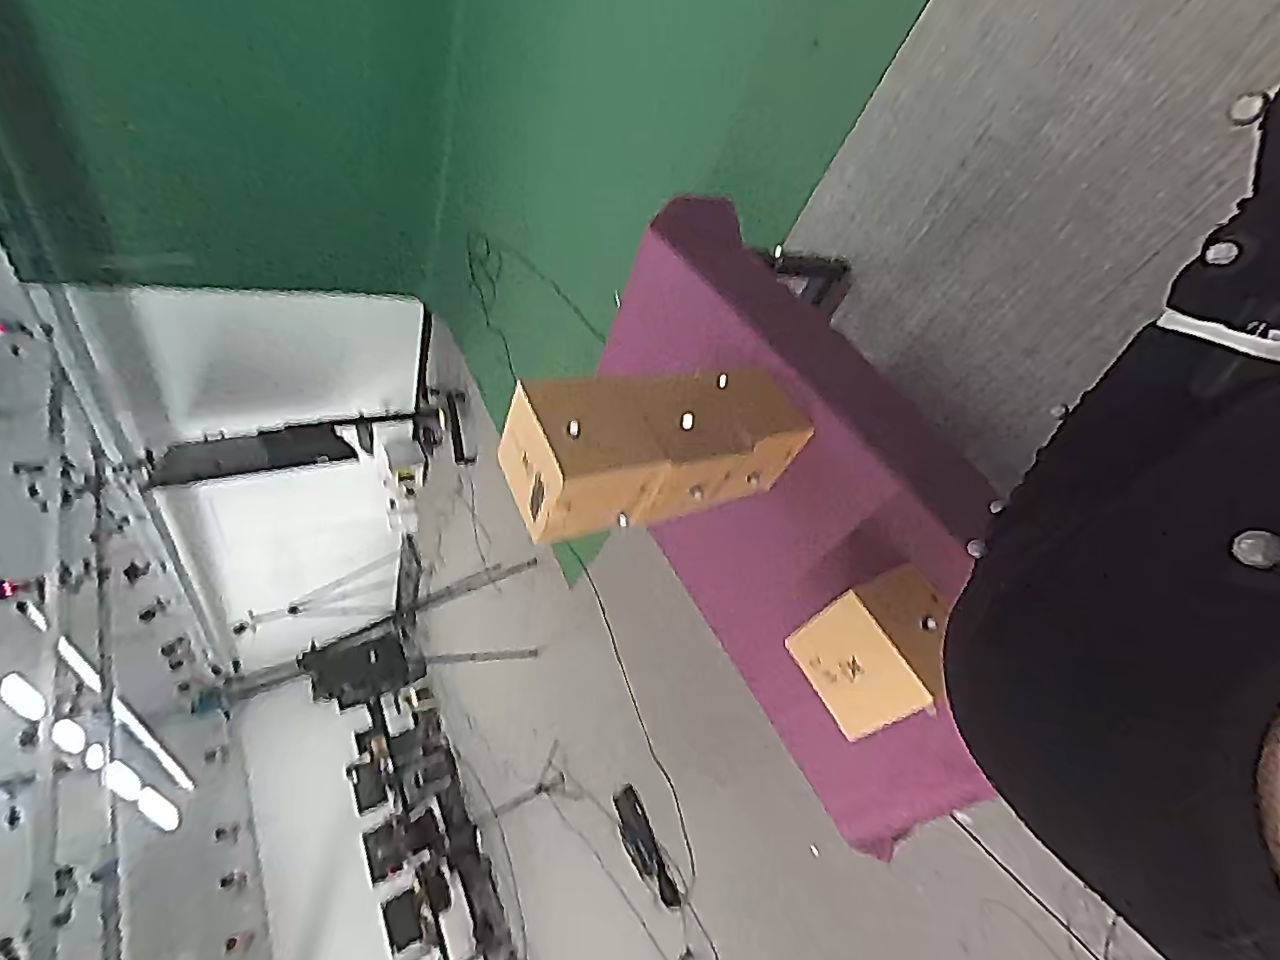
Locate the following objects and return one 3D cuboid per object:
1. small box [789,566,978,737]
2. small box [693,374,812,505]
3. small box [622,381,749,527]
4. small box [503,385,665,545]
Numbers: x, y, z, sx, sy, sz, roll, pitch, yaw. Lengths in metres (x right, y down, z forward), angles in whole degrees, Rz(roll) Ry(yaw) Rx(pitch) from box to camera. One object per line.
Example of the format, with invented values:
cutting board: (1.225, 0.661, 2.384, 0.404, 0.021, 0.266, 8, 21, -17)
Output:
small box: (0.373, 0.254, 0.823, 0.168, 0.176, 0.179, 59, 142, 27)
small box: (0.180, -0.083, 1.002, 0.179, 0.176, 0.168, 58, 141, 28)
small box: (0.050, -0.050, 0.907, 0.179, 0.176, 0.168, 60, 142, 24)
small box: (-0.087, -0.030, 0.818, 0.179, 0.176, 0.168, 61, 143, 26)
